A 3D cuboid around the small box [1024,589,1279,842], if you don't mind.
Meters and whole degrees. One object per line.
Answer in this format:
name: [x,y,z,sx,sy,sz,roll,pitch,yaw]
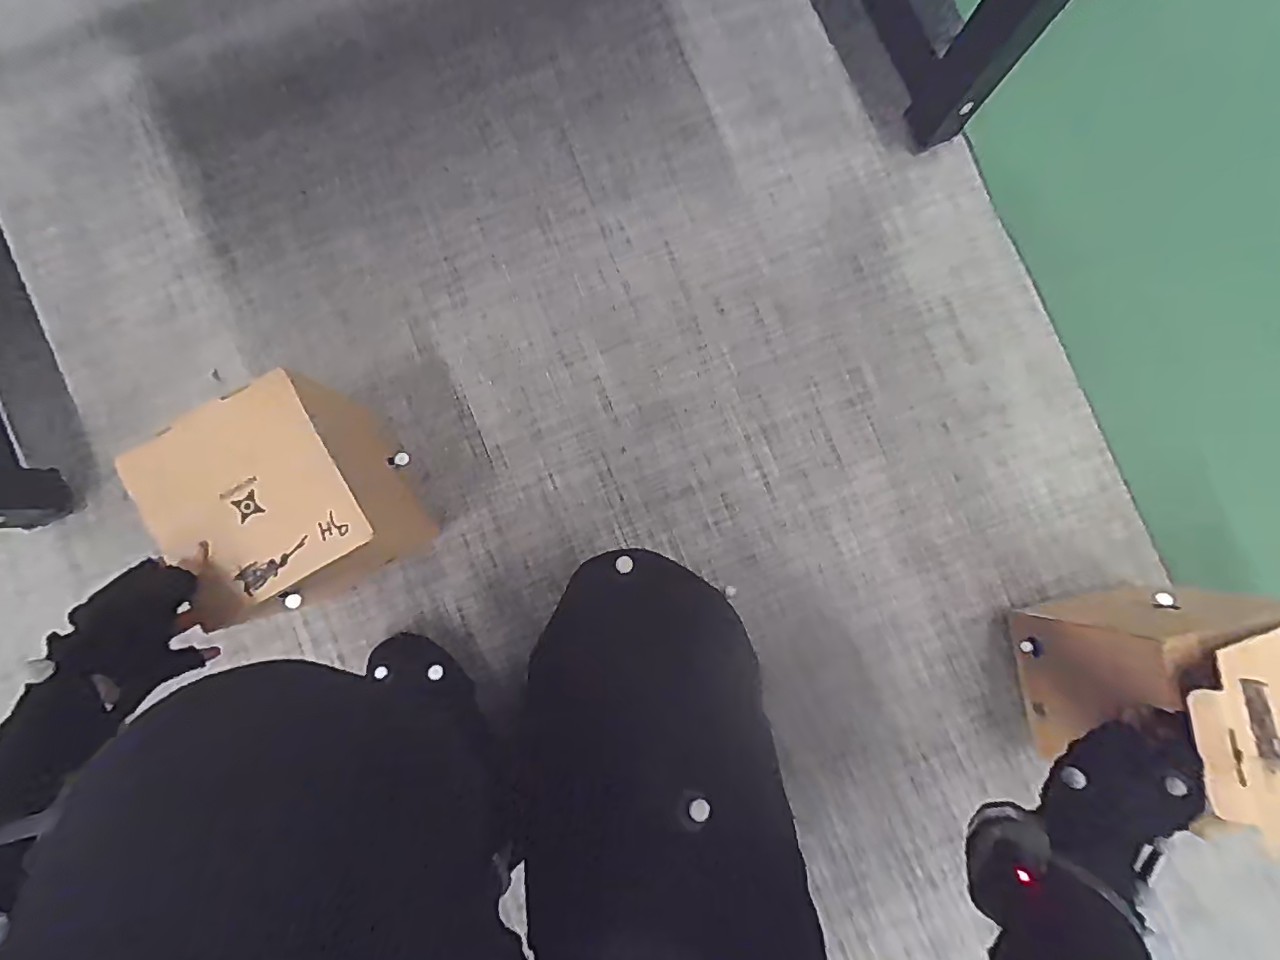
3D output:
small box: [0.521,0.209,0.532,0.179,0.176,0.168,-9,86,-8]
